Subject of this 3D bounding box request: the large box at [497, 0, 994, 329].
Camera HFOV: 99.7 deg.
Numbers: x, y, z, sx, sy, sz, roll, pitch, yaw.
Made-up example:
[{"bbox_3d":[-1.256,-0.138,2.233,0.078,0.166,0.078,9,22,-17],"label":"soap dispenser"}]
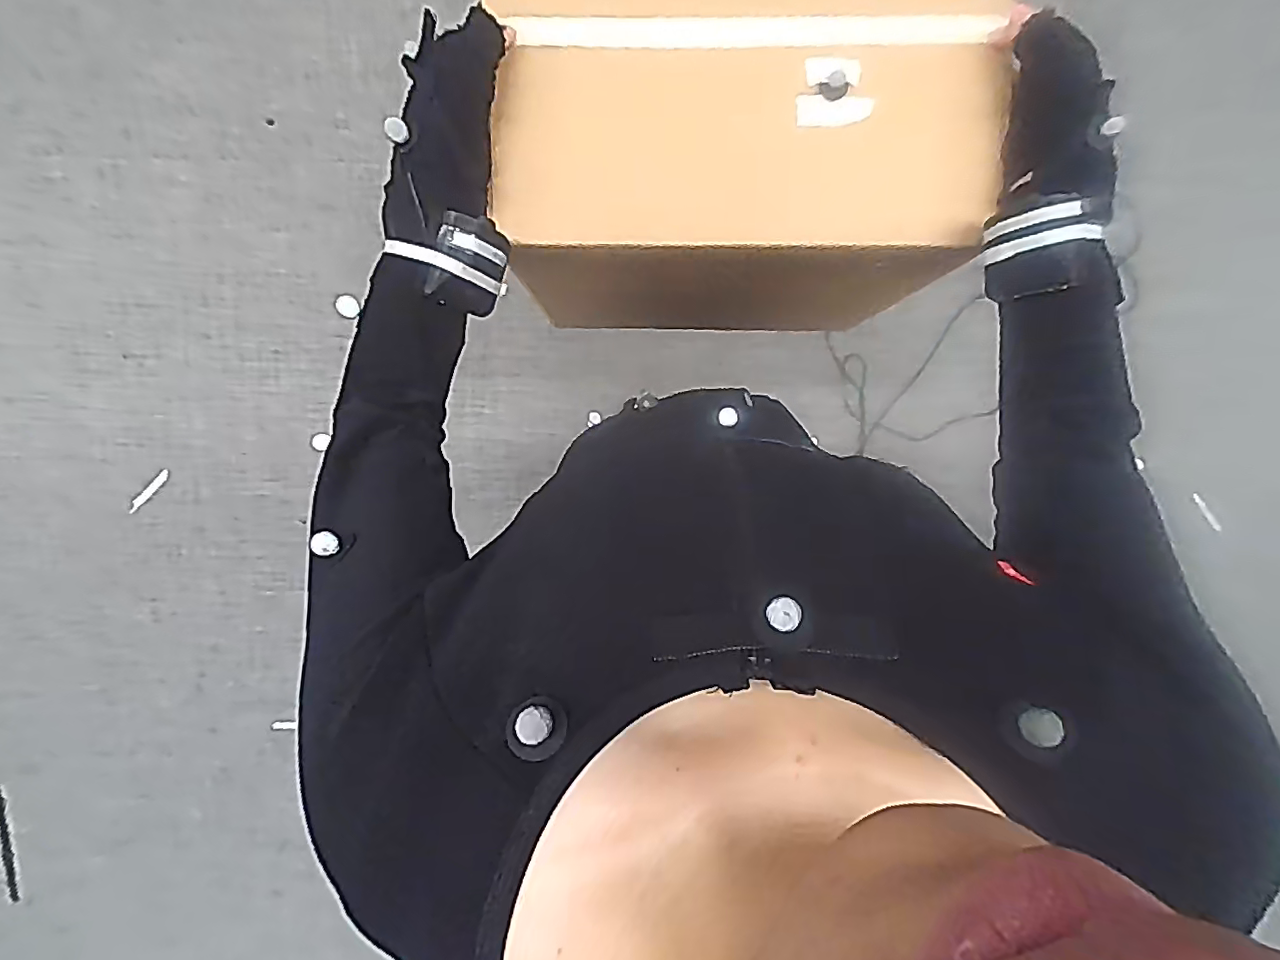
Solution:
[{"bbox_3d":[0.082,-0.355,0.583,0.408,0.320,0.320,0,93,0],"label":"large box"}]
